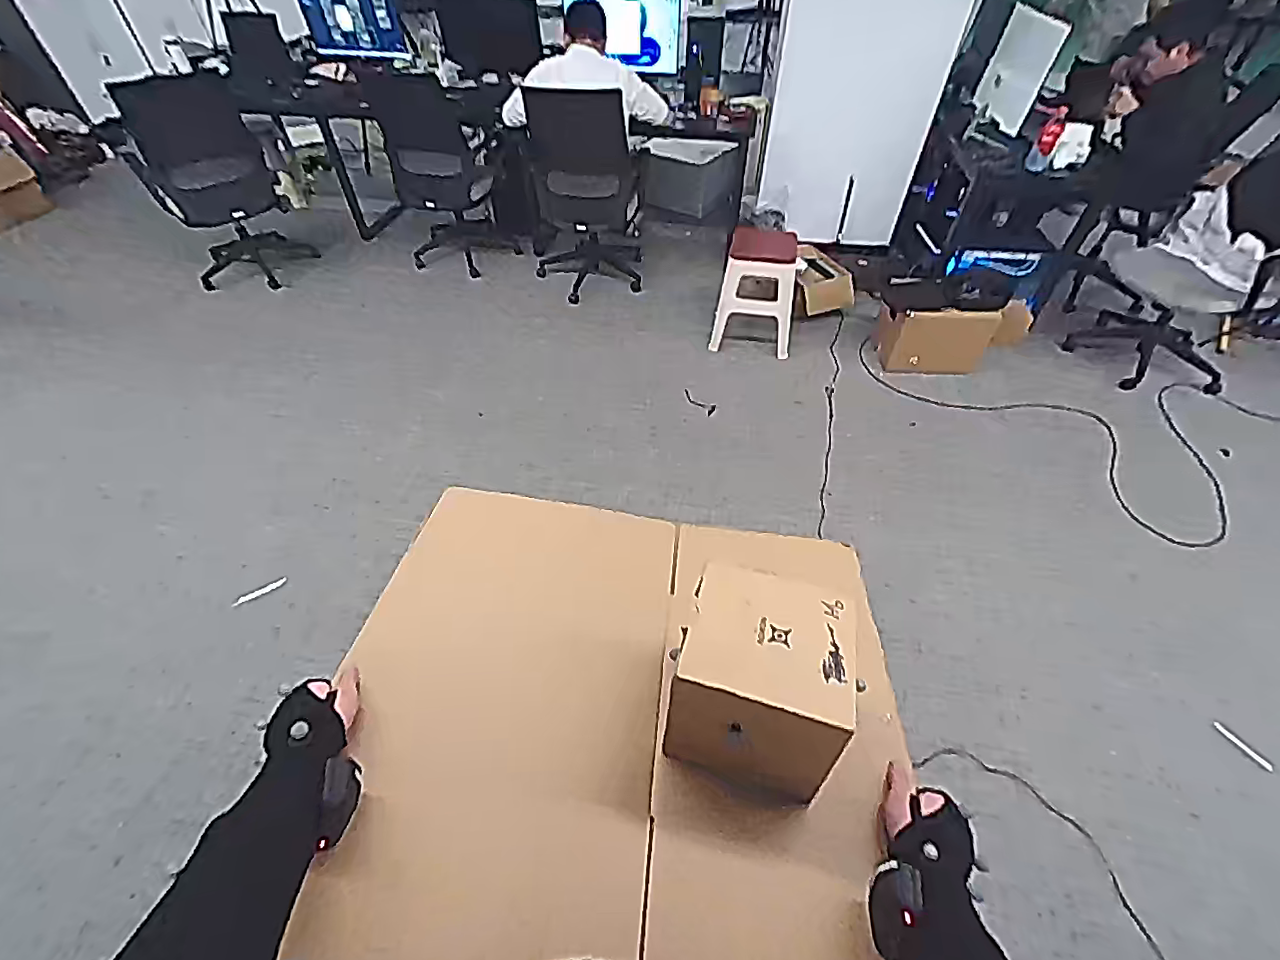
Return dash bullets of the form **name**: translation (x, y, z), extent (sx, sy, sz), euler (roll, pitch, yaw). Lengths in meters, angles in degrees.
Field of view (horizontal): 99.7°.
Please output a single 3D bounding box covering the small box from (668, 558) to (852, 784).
- **small box**: translation (0.136, 0.223, 0.633), extent (0.179, 0.176, 0.168), euler (12, 41, 12)
